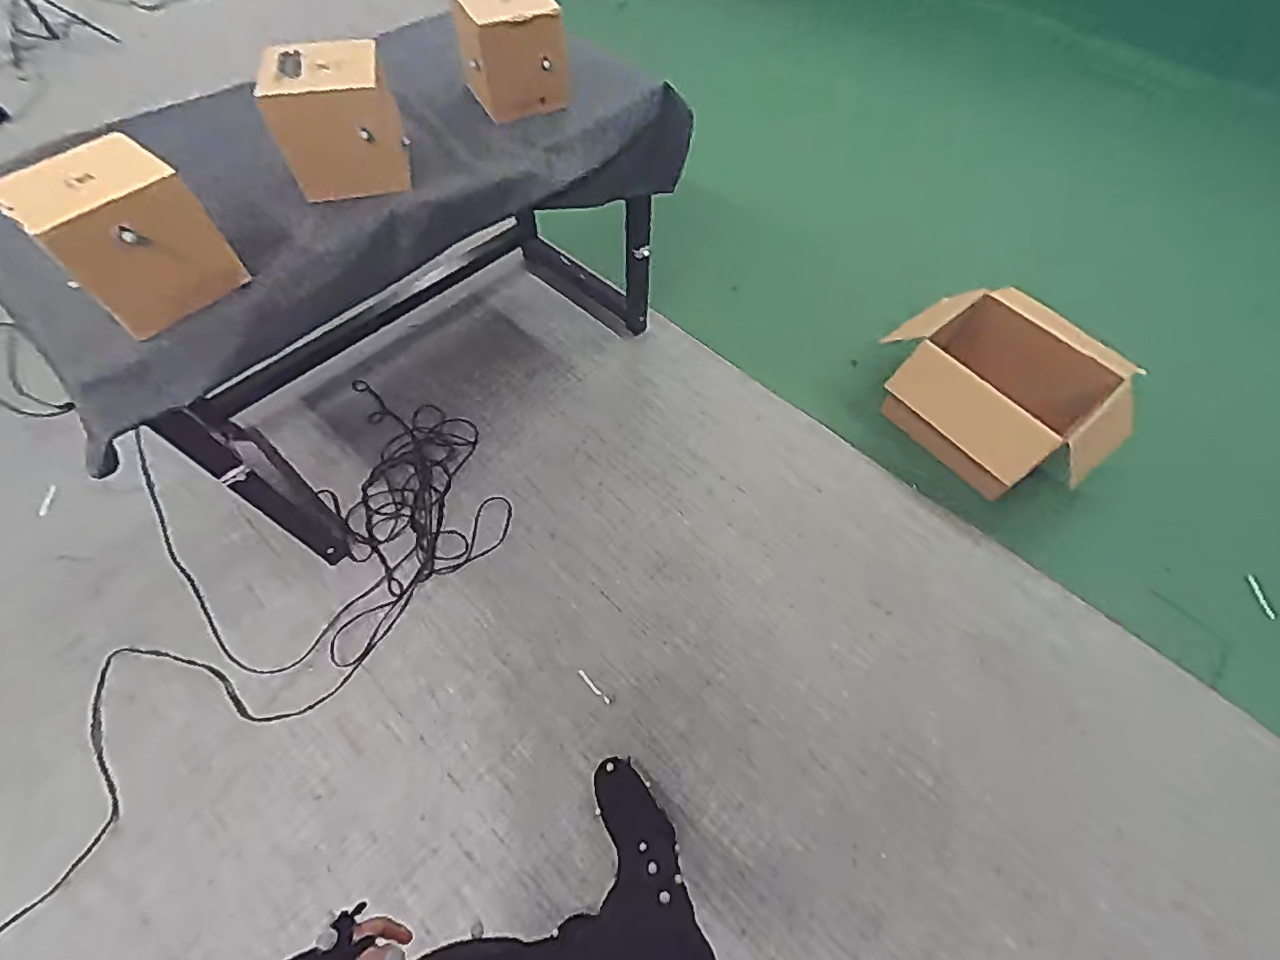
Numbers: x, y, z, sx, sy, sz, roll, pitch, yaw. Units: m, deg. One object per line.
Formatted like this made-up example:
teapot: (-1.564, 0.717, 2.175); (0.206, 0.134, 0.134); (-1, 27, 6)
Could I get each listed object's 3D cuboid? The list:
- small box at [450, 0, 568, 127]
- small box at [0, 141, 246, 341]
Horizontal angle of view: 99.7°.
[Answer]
small box: (-0.254, -0.836, 1.082); (0.168, 0.176, 0.179); (-24, 61, -16)
small box: (-0.707, -0.334, 0.765); (0.168, 0.176, 0.179); (35, 64, 20)
